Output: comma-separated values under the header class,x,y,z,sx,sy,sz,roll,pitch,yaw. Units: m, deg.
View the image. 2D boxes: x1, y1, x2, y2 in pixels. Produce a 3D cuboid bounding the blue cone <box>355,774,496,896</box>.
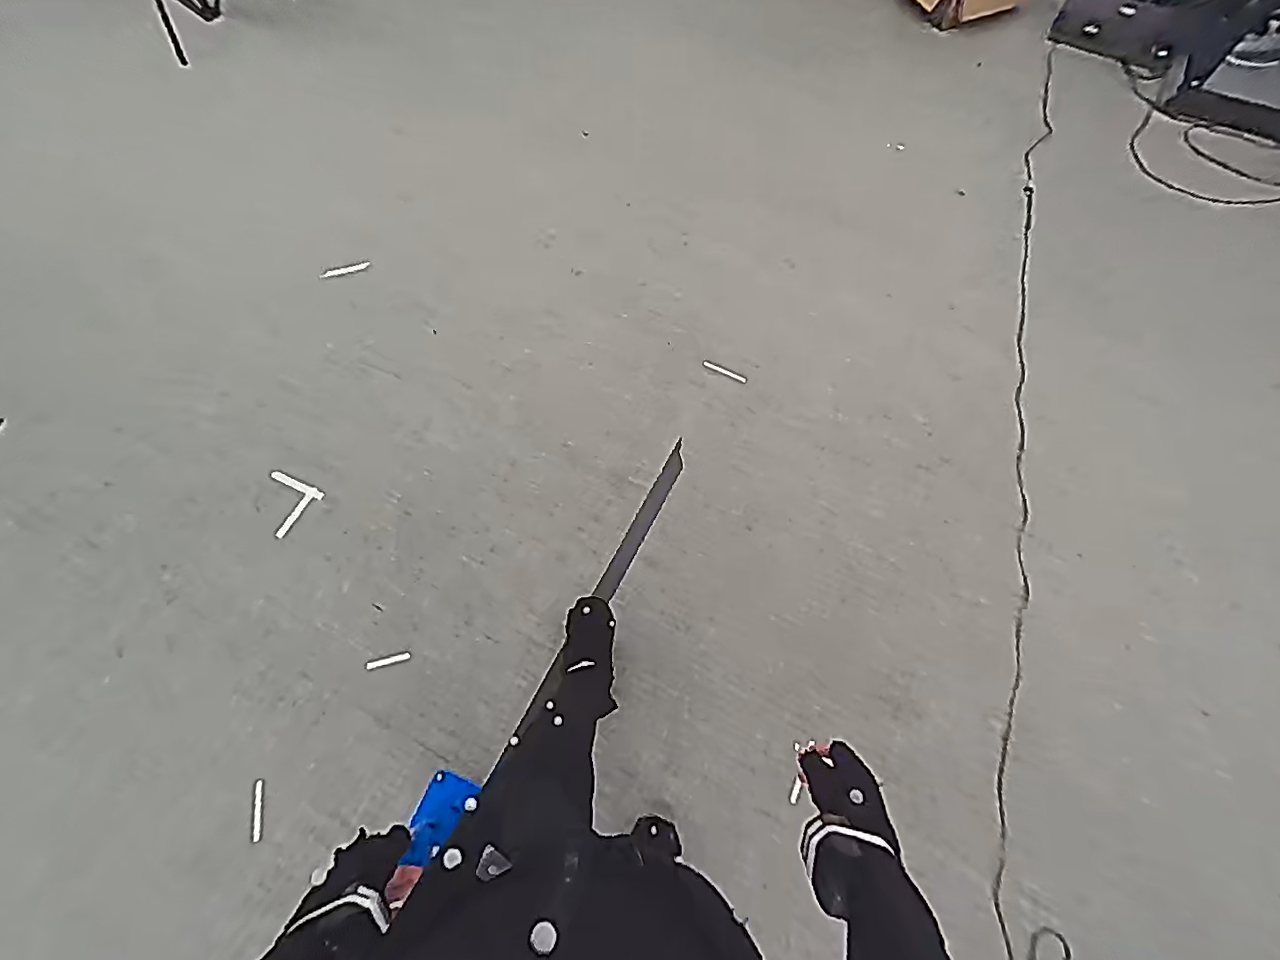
class,x,y,z,sx,sy,sz,roll,pitch,yaw
blue cone,-0.428,0.705,1.033,0.192,0.380,0.193,22,68,11
